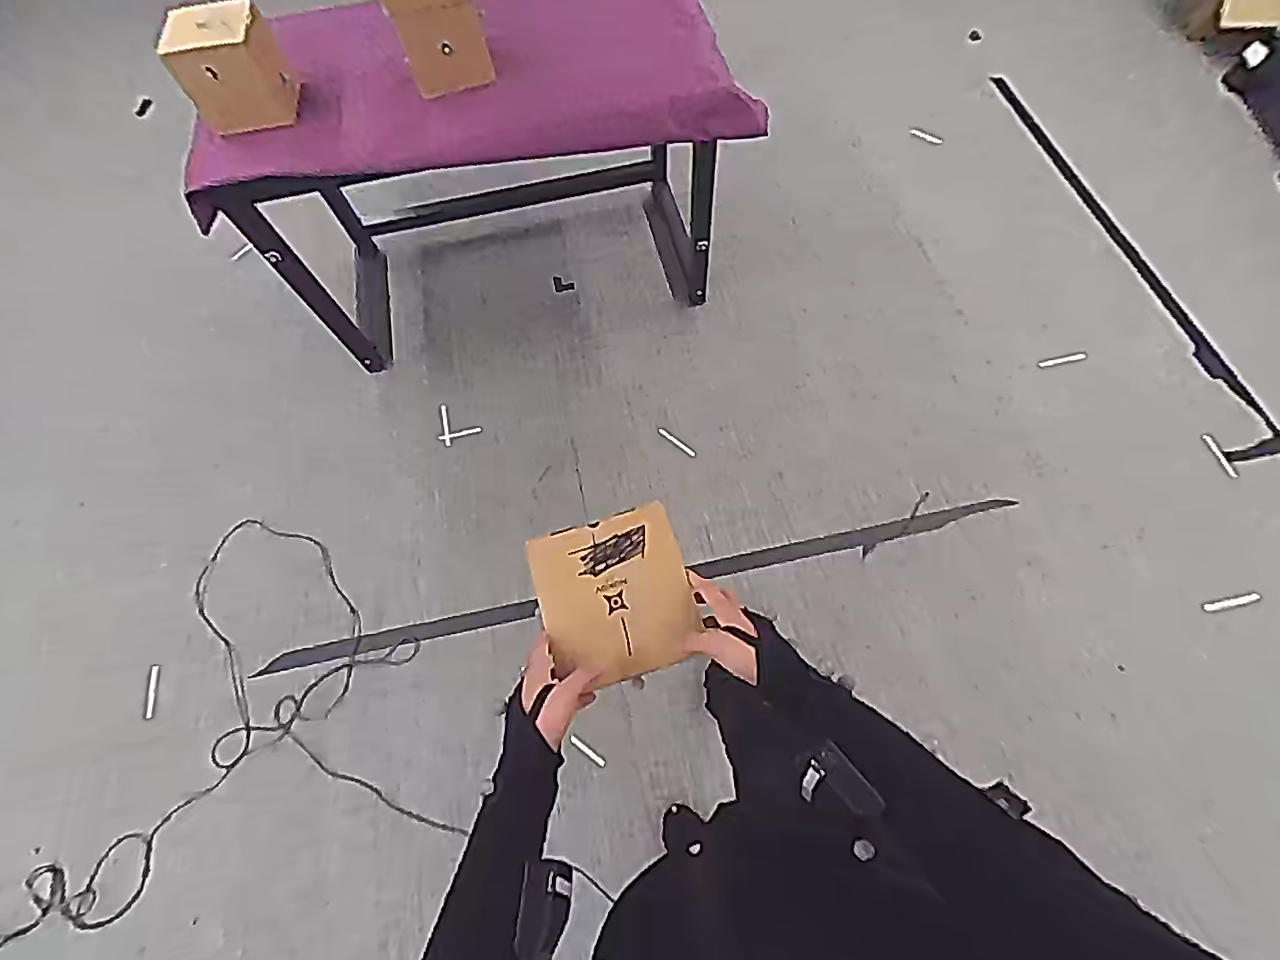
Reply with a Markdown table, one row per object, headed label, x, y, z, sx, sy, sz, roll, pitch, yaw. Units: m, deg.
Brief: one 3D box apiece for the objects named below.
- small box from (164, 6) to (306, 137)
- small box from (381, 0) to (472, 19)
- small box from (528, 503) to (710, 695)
| label | x | y | z | sx | sy | sz | roll | pitch | yaw |
| --- | --- | --- | --- | --- | --- | --- | --- | --- | --- |
| small box | -0.878 | -0.889 | 1.189 | 0.179 | 0.176 | 0.168 | -10 | 66 | -2 |
| small box | -0.451 | -1.051 | 1.061 | 0.179 | 0.176 | 0.168 | -15 | 67 | -3 |
| small box | -0.027 | 0.152 | 0.668 | 0.168 | 0.176 | 0.179 | -17 | 72 | -5 |
